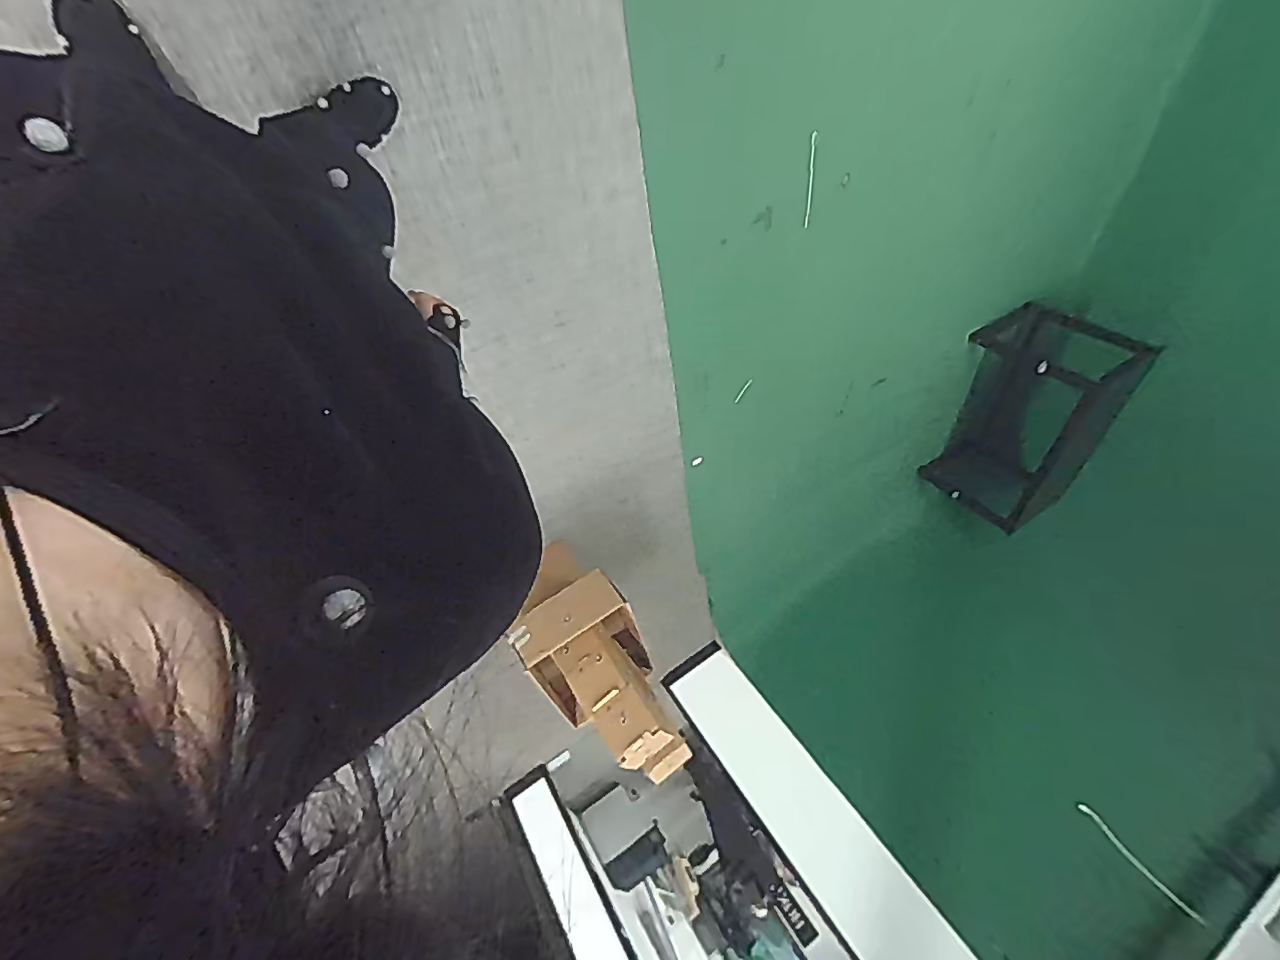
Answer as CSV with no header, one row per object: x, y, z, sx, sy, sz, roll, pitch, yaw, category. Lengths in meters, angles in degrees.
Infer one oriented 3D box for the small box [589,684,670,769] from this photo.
-0.037,0.785,1.729,0.168,0.176,0.179,-37,140,-5,small box

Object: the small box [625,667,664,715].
-0.041,0.847,2.040,0.179,0.176,0.168,-35,140,-12,small box

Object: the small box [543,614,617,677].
-0.218,0.607,1.937,0.168,0.176,0.179,-39,142,-4,small box

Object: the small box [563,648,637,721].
-0.133,0.699,1.832,0.168,0.176,0.179,-39,142,-4,small box

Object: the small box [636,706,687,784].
0.045,0.949,1.942,0.168,0.176,0.179,-34,139,-14,small box
